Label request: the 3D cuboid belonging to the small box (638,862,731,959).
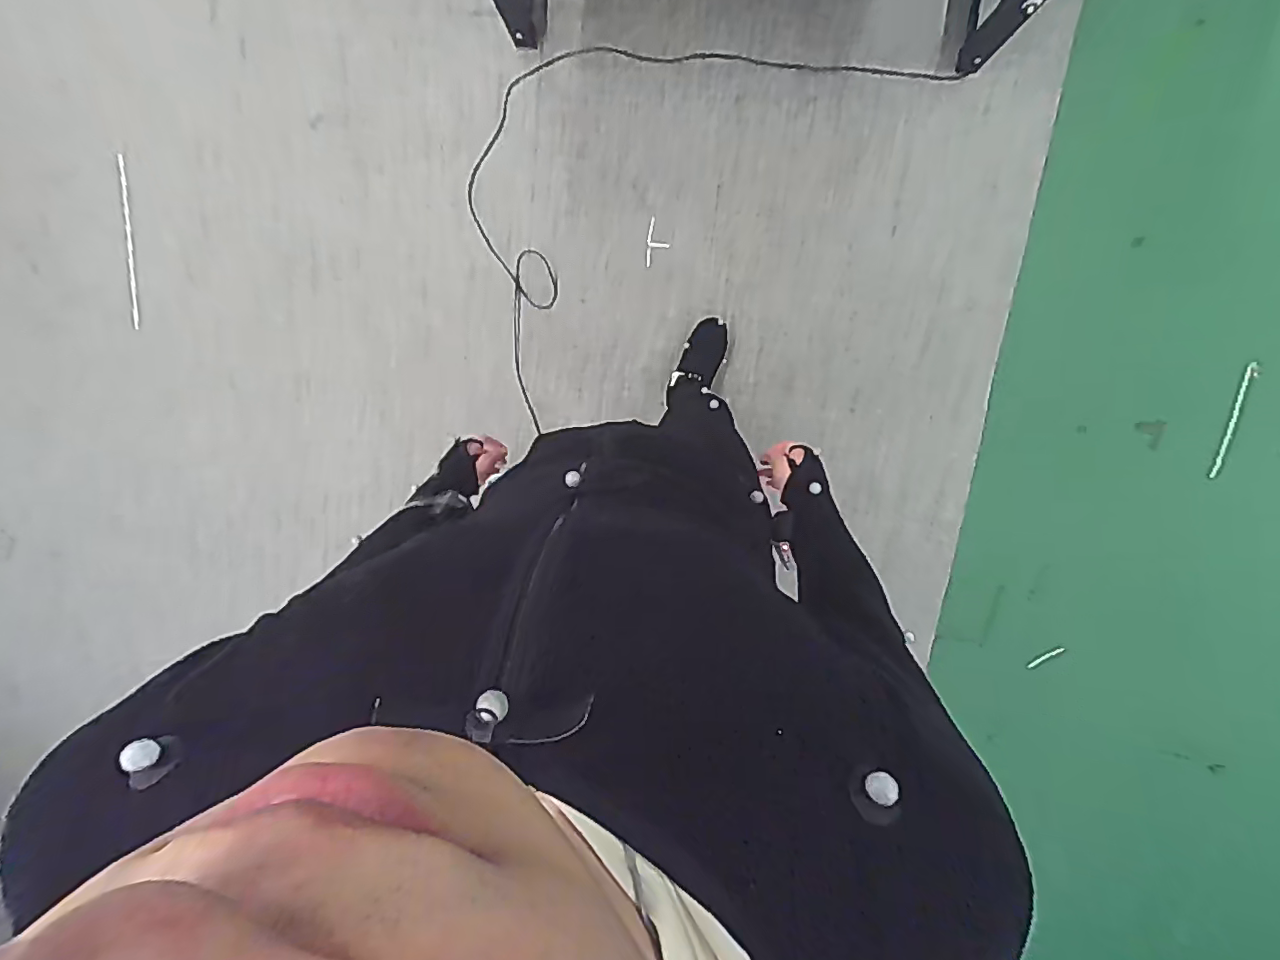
[{"bbox_3d":[0.089,0.951,1.128,0.168,0.176,0.179,8,102,1],"label":"small box"}]
